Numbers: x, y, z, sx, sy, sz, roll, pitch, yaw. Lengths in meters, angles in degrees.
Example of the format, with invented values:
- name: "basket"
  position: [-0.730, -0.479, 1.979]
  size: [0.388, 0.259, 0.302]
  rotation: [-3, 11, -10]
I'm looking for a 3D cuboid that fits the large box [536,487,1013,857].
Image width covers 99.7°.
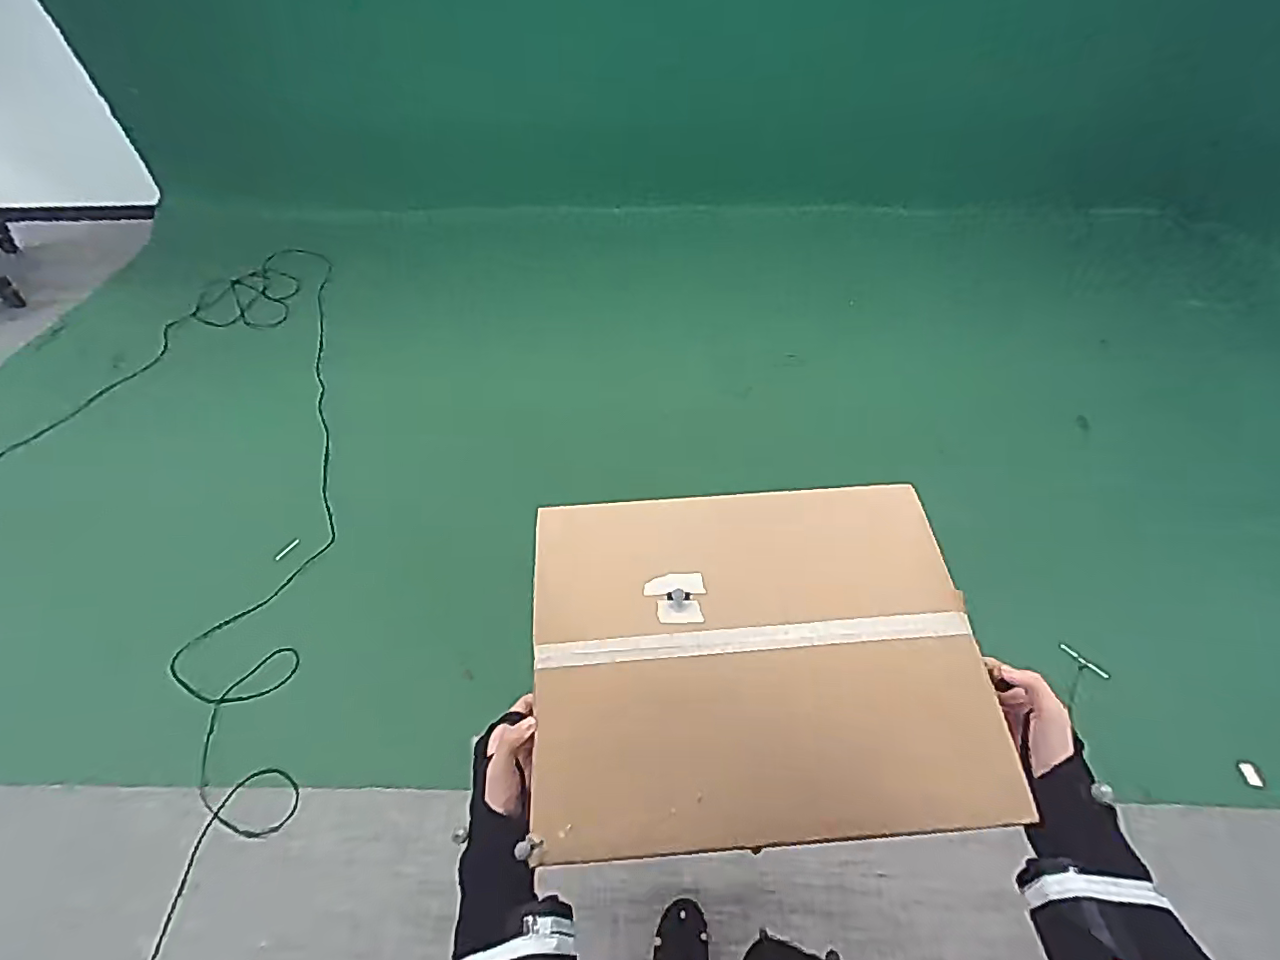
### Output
- name: "large box"
  position: [0.107, 0.229, 0.644]
  size: [0.408, 0.320, 0.320]
  rotation: [-4, 59, -1]
